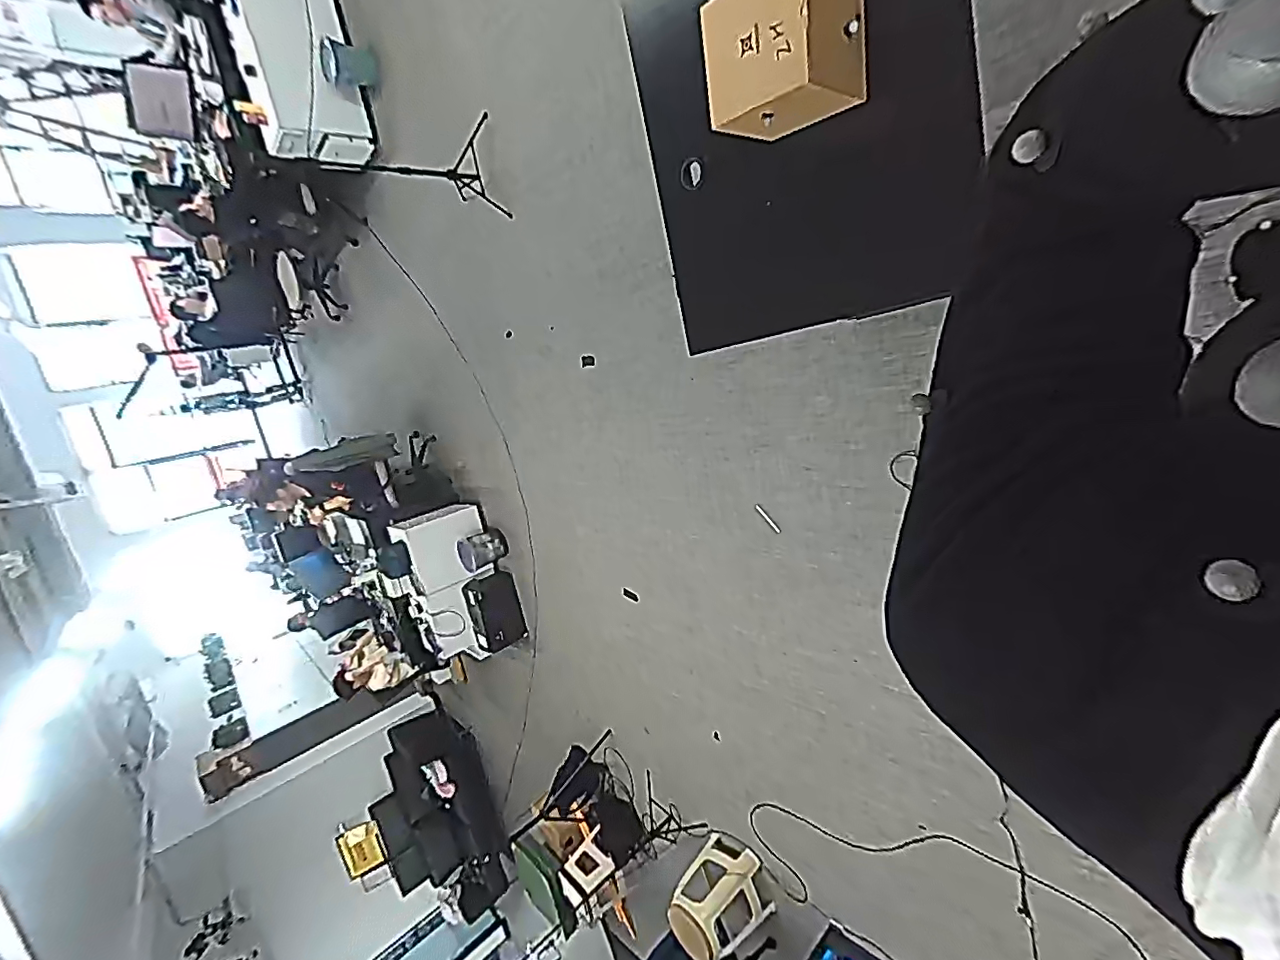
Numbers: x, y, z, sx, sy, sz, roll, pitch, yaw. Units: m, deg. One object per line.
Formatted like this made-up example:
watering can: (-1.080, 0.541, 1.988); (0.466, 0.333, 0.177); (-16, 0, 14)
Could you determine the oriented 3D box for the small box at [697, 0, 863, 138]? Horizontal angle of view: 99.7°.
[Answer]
small box: (0.213, -0.642, 0.818); (0.179, 0.176, 0.168); (8, 113, 48)
